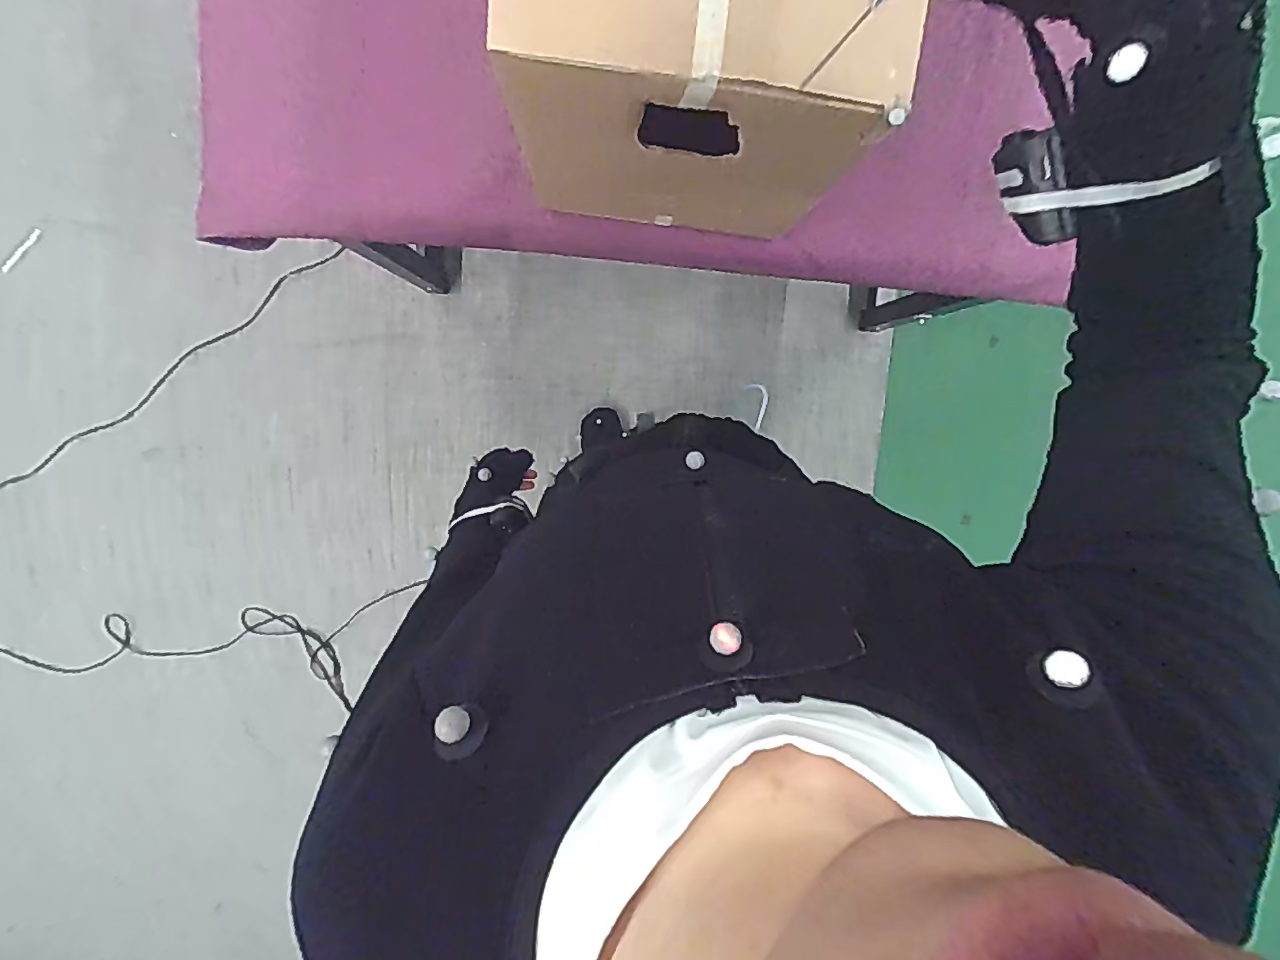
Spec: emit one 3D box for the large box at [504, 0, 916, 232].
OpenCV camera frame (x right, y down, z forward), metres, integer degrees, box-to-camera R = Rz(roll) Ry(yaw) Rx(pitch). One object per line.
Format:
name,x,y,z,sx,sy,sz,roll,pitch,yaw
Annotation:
large box,0.060,-0.513,0.529,0.320,0.320,0.408,6,99,-4
